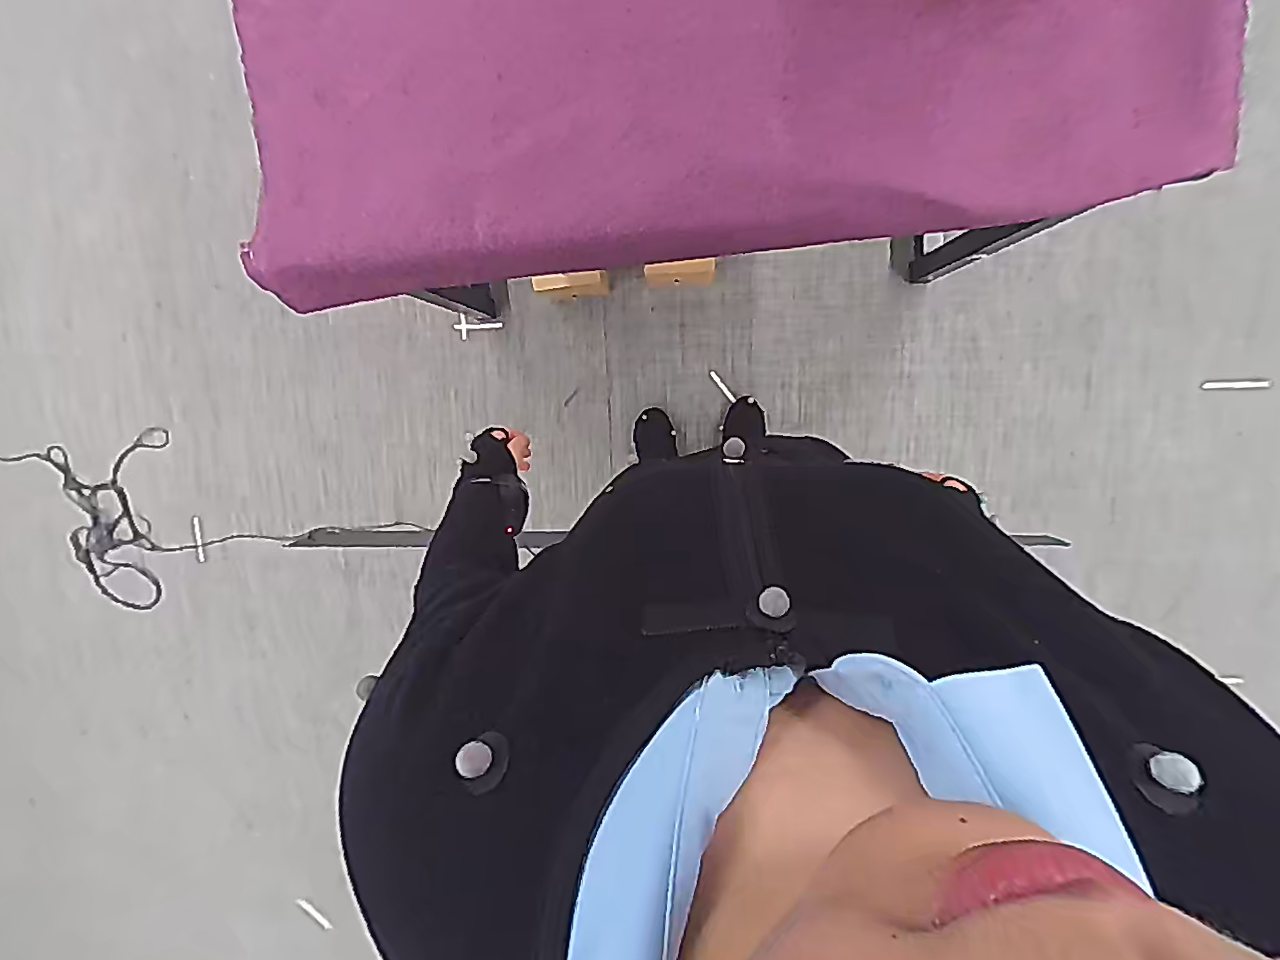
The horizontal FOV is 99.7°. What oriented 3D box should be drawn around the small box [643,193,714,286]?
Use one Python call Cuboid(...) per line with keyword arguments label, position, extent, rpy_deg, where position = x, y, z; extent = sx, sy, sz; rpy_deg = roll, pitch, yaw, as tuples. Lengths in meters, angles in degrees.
Cuboid(label="small box", position=(0.096, -0.581, 1.330), extent=(0.168, 0.176, 0.179), rpy_deg=(-1, 98, 4))
